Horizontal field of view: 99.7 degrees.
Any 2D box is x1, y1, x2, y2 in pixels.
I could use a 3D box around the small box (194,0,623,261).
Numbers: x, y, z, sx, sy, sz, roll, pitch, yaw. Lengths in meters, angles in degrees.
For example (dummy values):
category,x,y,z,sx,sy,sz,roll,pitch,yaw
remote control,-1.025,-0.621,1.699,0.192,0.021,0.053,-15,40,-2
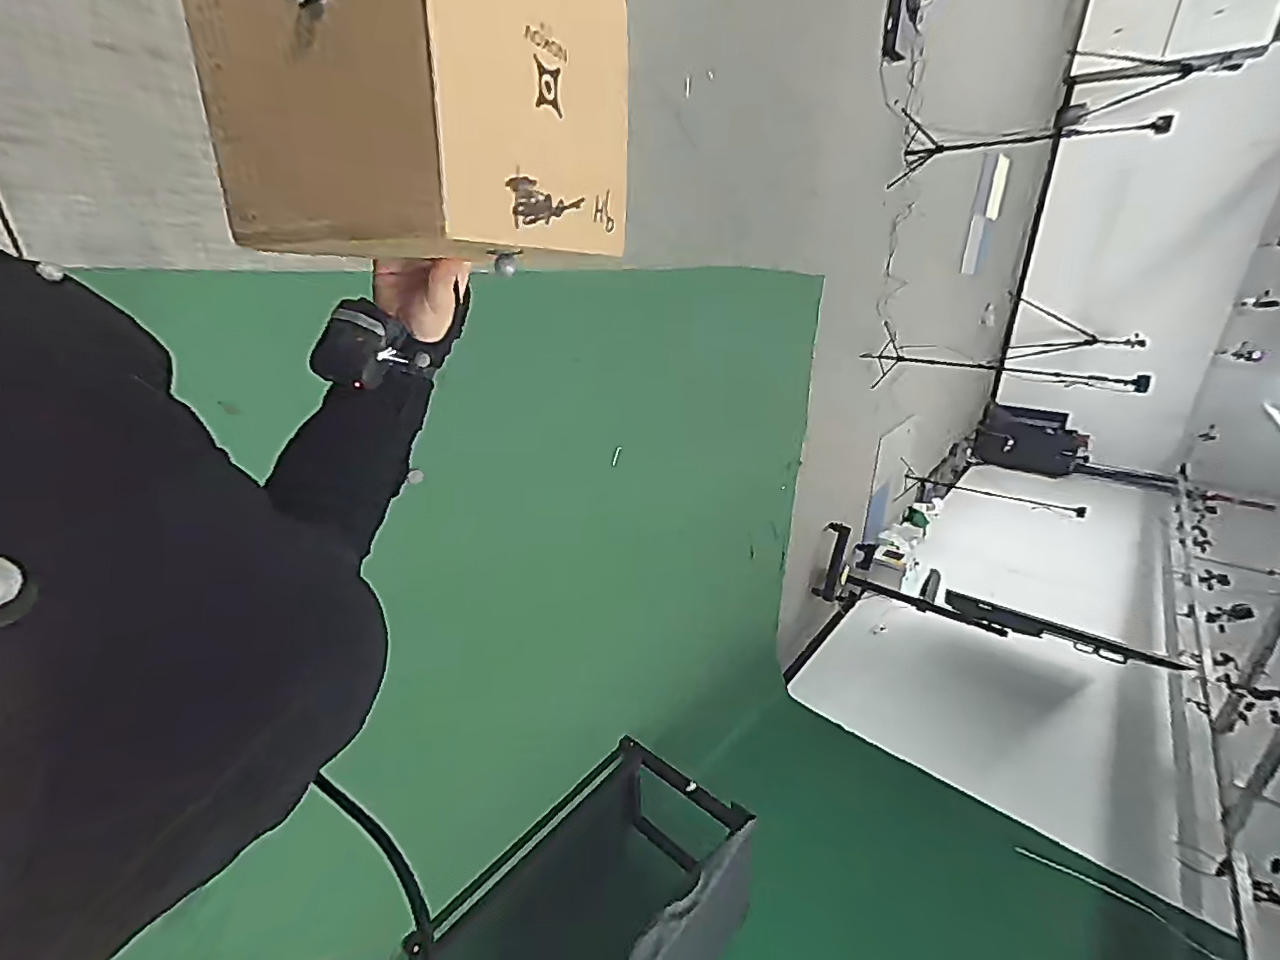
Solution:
category,x,y,z,sx,sy,sz,roll,pitch,yaw
small box,-0.123,-0.231,0.321,0.168,0.176,0.179,-34,128,-57
